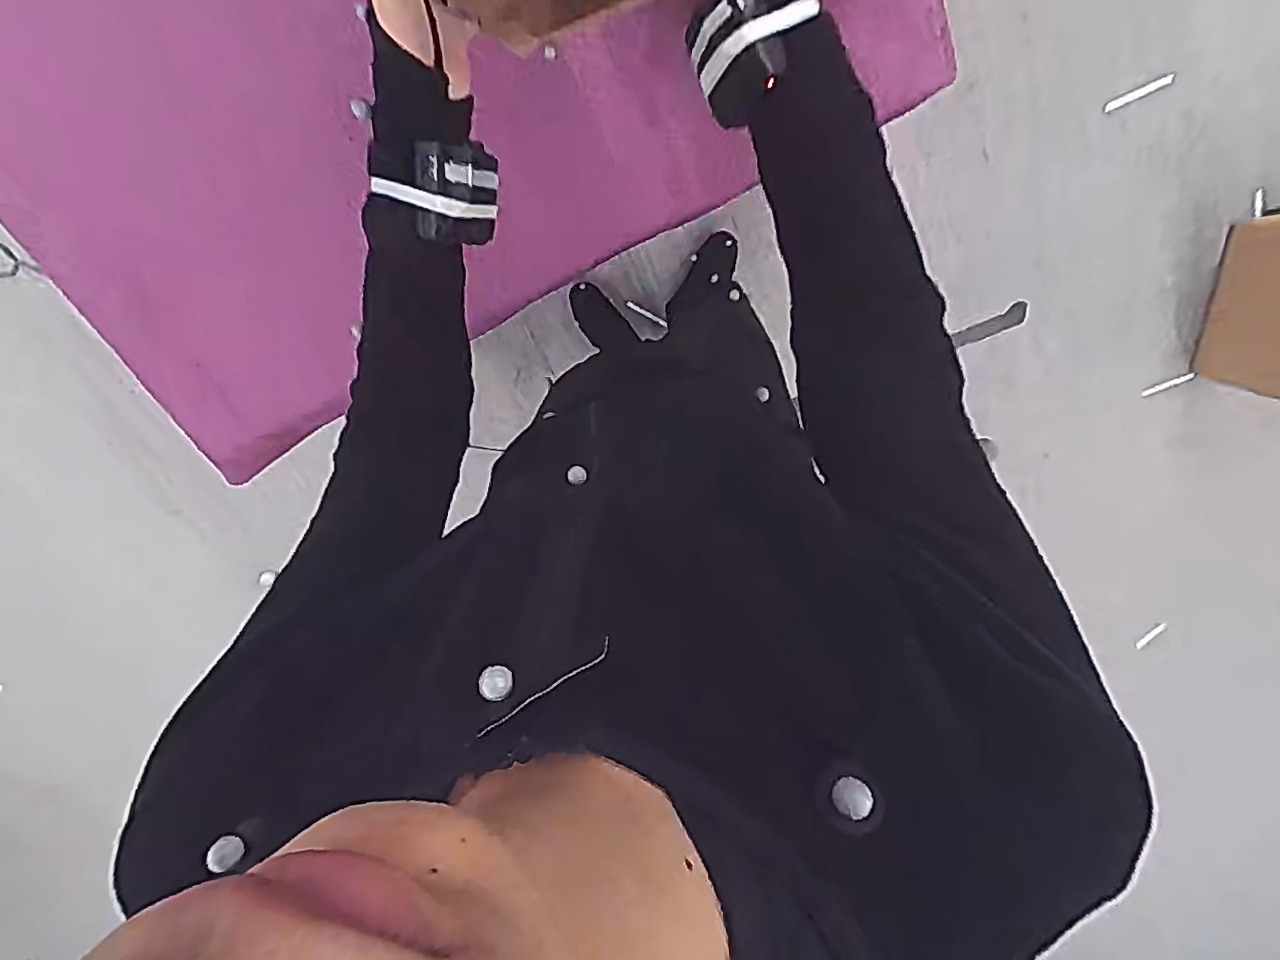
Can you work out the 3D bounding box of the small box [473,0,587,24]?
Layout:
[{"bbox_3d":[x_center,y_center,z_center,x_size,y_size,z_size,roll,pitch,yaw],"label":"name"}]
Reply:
[{"bbox_3d":[-0.074,-0.489,0.416,0.168,0.176,0.179,-16,121,9],"label":"small box"}]
